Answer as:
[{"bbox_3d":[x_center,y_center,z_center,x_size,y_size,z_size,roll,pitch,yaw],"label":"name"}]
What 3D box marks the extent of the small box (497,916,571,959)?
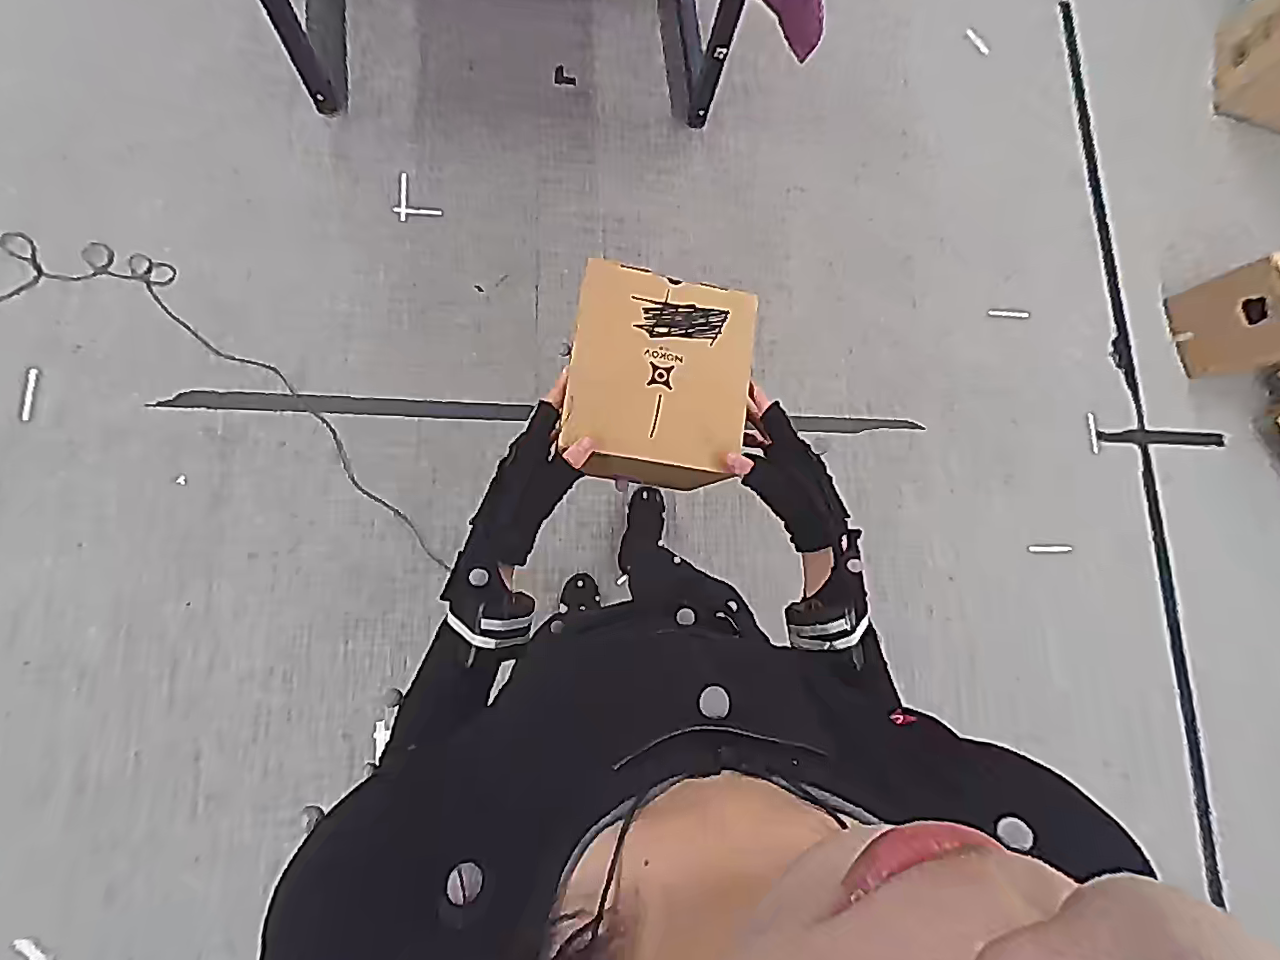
[{"bbox_3d":[-0.244,1.165,1.264,0.168,0.176,0.179,-7,81,-9],"label":"small box"}]
